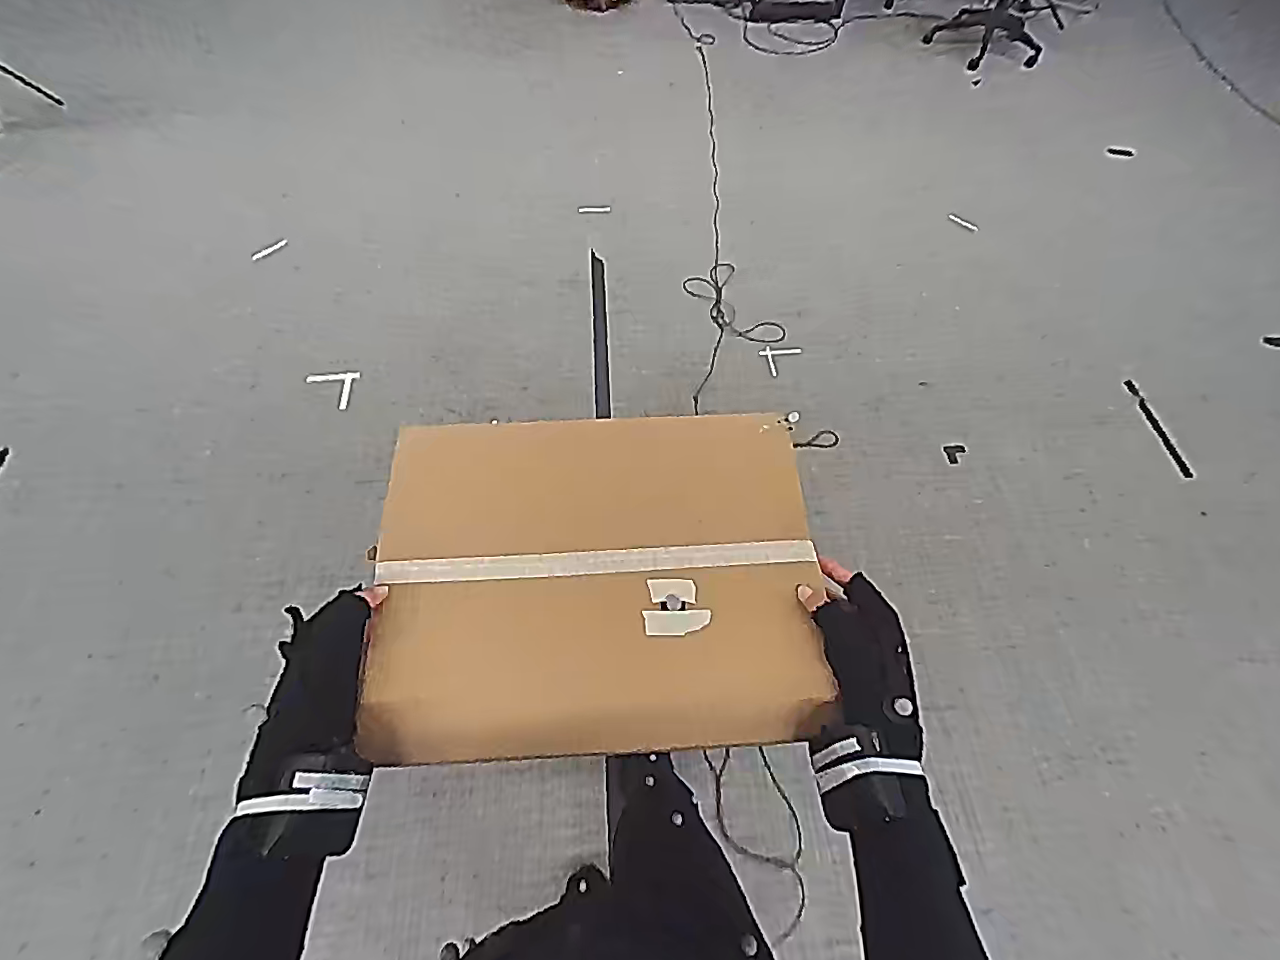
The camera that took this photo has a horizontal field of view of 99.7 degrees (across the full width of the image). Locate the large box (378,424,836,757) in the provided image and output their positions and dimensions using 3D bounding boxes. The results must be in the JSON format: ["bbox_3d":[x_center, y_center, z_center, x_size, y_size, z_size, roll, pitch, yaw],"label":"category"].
[{"bbox_3d":[-0.039,0.149,0.659,0.408,0.320,0.320,-2,64,-3],"label":"large box"}]
